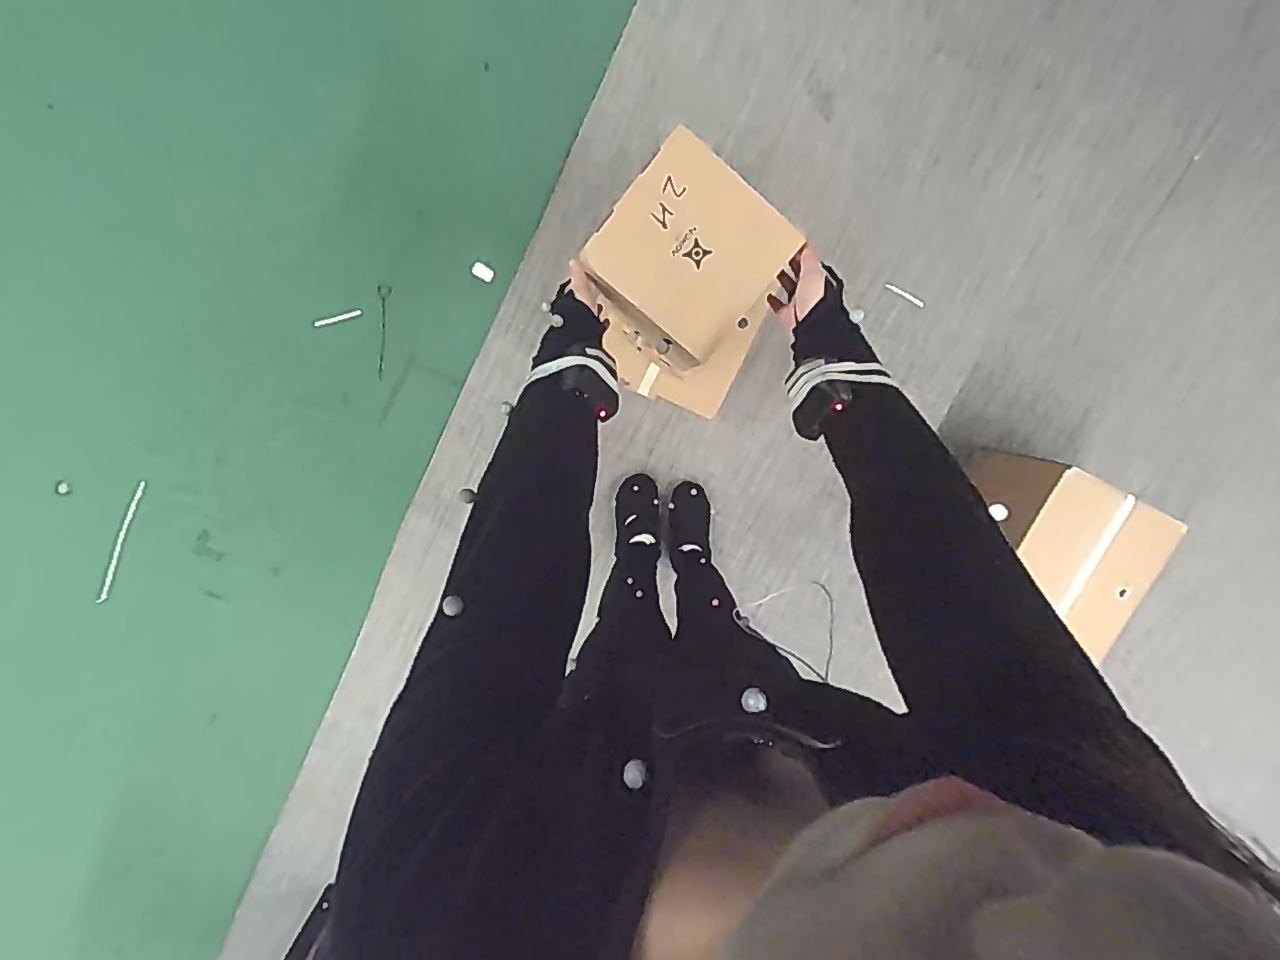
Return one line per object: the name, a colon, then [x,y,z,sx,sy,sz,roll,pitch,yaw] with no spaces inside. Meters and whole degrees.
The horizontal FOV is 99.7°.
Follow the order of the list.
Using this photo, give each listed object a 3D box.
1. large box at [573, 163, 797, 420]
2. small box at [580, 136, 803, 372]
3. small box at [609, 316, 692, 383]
large box: [0.082,-0.378,1.194,0.320,0.320,0.408,25,98,-5]
small box: [0.054,-0.246,0.639,0.179,0.176,0.168,40,97,-6]
small box: [0.059,-0.292,0.963,0.168,0.176,0.179,36,98,-7]
